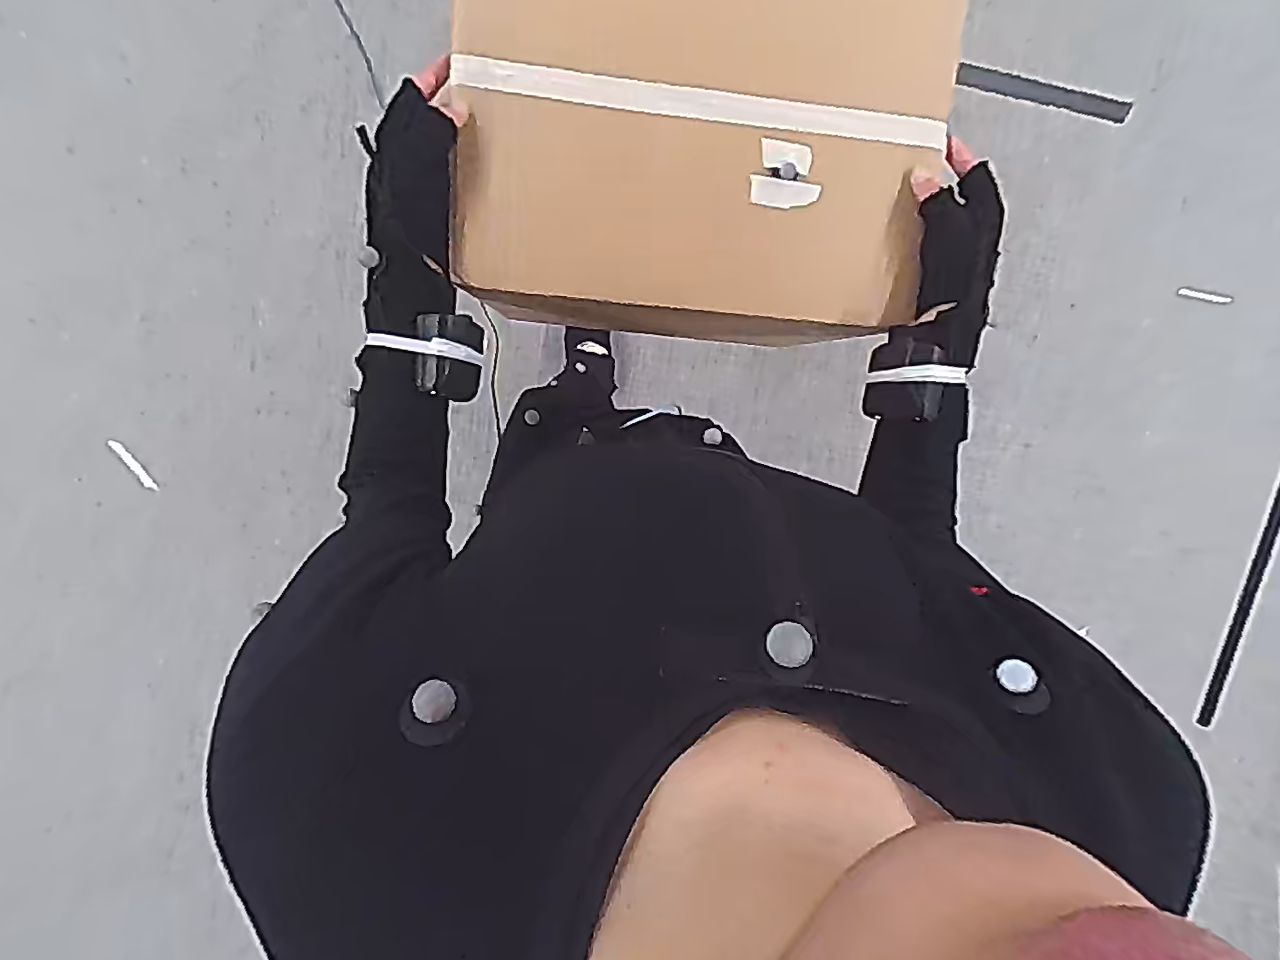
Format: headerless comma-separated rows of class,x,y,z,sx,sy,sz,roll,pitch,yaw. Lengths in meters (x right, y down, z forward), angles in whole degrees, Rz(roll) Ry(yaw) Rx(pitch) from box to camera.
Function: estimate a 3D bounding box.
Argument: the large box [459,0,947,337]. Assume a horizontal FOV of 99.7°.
large box,0.037,-0.339,0.595,0.408,0.320,0.320,3,102,-7
